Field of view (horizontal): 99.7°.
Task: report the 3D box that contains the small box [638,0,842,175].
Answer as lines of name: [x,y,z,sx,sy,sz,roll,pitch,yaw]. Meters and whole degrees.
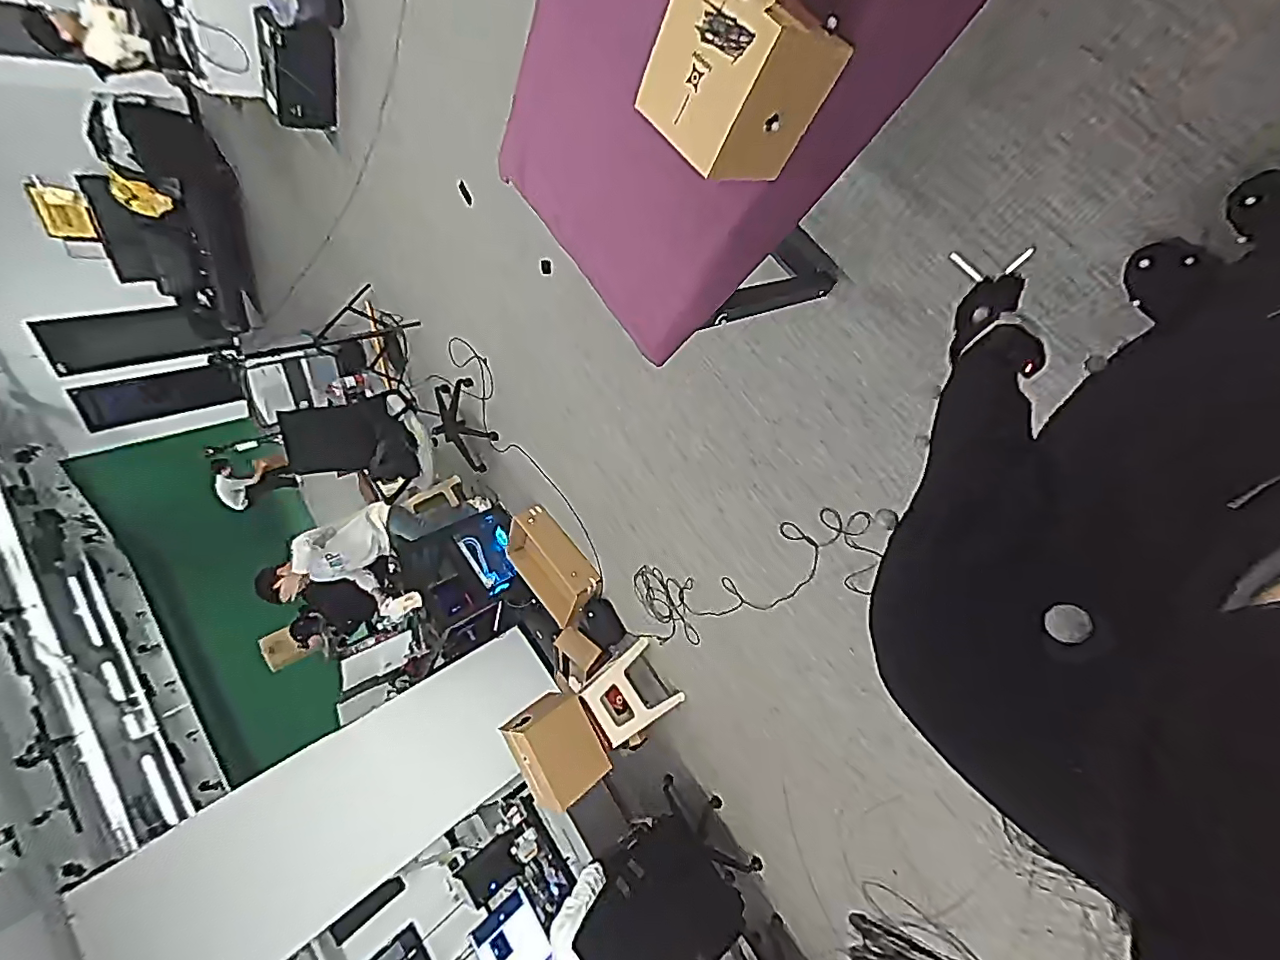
small box: [0.133,-0.531,0.706,0.168,0.176,0.179,54,142,15]
